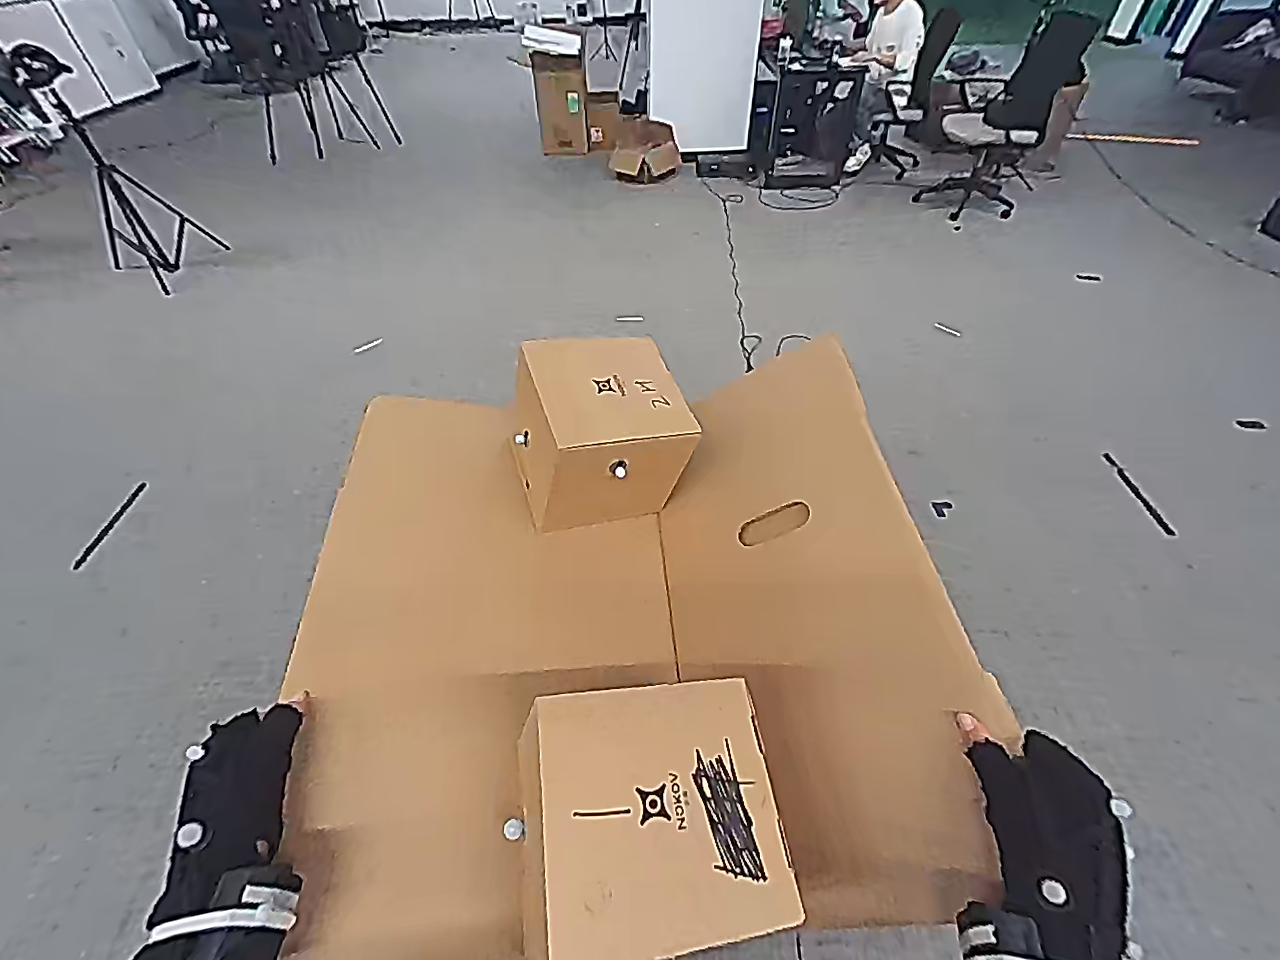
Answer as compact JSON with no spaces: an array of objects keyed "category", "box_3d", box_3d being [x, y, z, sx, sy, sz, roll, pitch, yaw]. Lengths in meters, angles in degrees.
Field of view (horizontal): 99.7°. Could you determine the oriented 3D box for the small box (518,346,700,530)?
[{"category":"small box","box_3d":[-0.054,-0.052,0.692,0.179,0.176,0.168,-7,57,-24]}]
